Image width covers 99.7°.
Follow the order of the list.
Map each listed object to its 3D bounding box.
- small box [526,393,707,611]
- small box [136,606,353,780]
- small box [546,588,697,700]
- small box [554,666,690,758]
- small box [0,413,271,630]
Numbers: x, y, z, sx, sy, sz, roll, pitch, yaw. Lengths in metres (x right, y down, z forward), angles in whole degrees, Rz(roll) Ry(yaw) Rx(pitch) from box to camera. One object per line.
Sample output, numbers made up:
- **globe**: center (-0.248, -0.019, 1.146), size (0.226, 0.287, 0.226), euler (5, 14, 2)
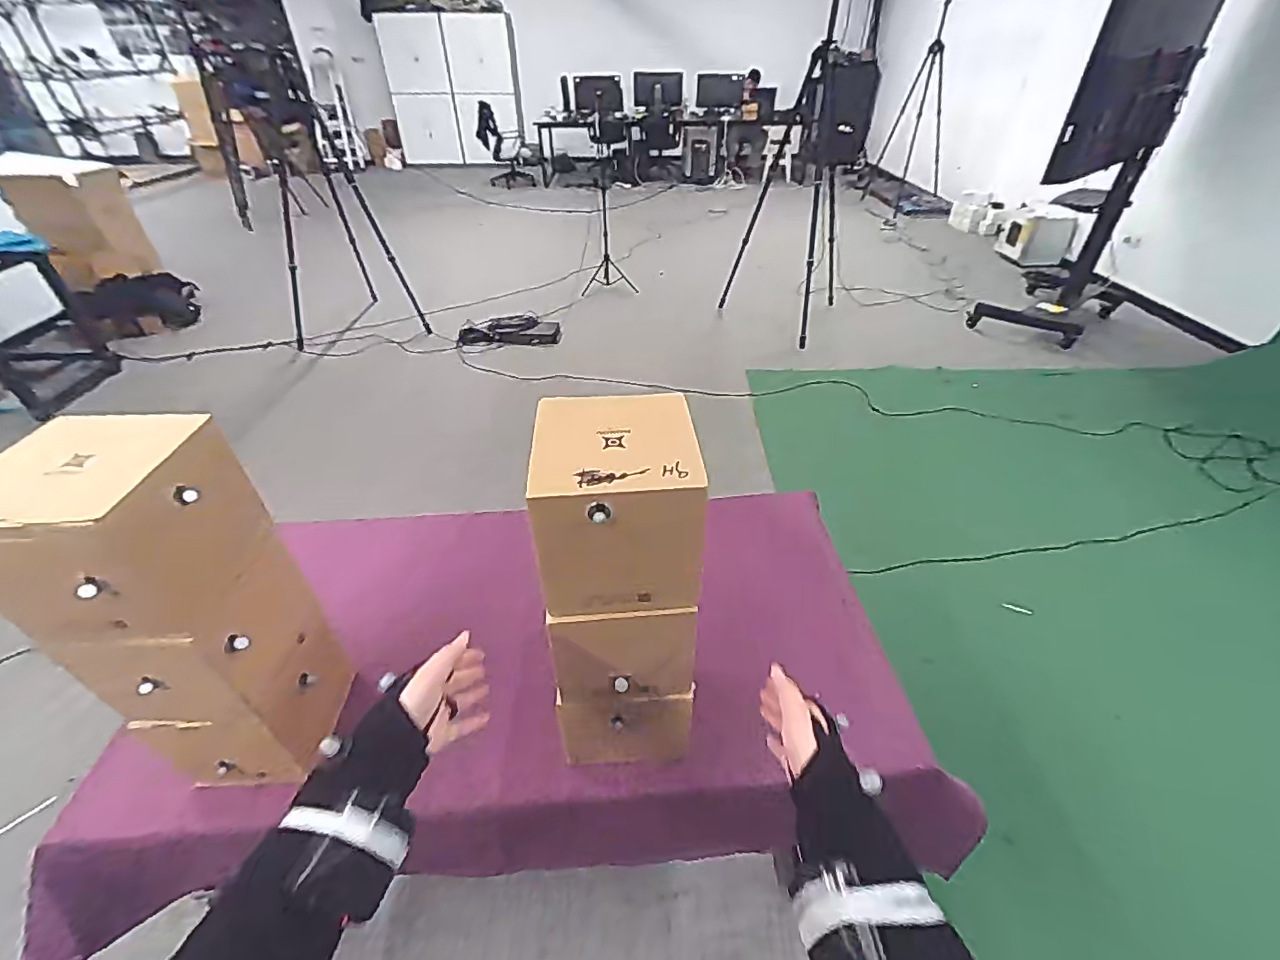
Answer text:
- **small box**: center (-0.024, 0.020, 0.596), size (0.168, 0.176, 0.179), euler (-4, 38, -2)
- **small box**: center (-0.544, 0.304, 0.780), size (0.168, 0.176, 0.179), euler (-2, 39, -2)
- **small box**: center (-0.025, 0.154, 0.693), size (0.168, 0.176, 0.179), euler (-4, 39, -3)
- **small box**: center (-0.022, 0.288, 0.789), size (0.179, 0.176, 0.168), euler (-2, 39, -1)
- **small box**: center (-0.543, 0.045, 0.579), size (0.168, 0.176, 0.179), euler (-1, 38, -1)
